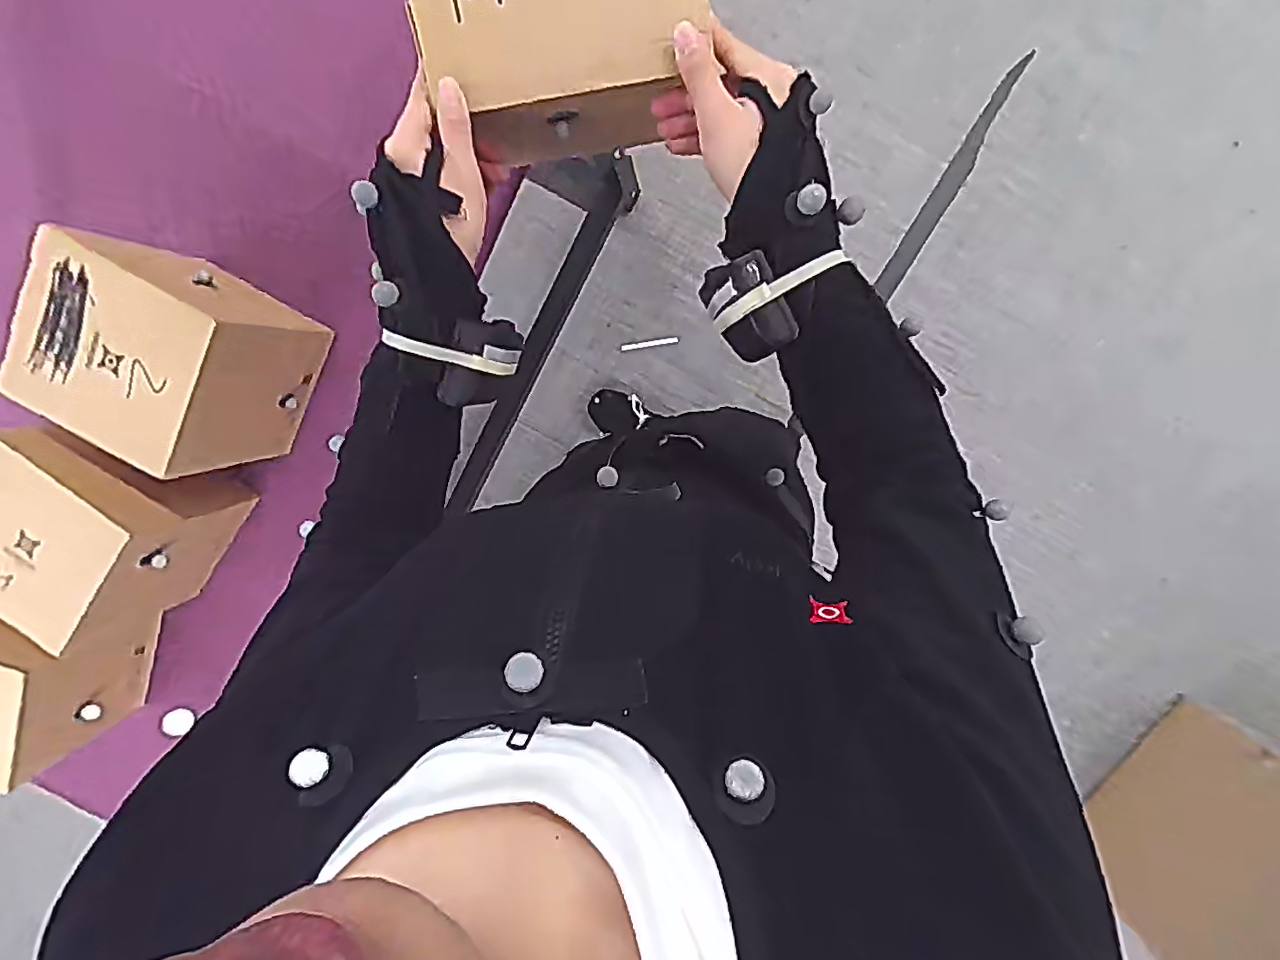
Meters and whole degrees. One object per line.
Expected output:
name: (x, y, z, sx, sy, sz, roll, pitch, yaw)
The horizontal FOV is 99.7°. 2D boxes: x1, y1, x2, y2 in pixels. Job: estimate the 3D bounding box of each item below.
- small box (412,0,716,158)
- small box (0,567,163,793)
small box: (-0.049, -0.341, 0.374, 0.179, 0.176, 0.168, -8, 110, 3)
small box: (-0.739, 0.226, 0.655, 0.179, 0.176, 0.168, 21, 102, -1)
